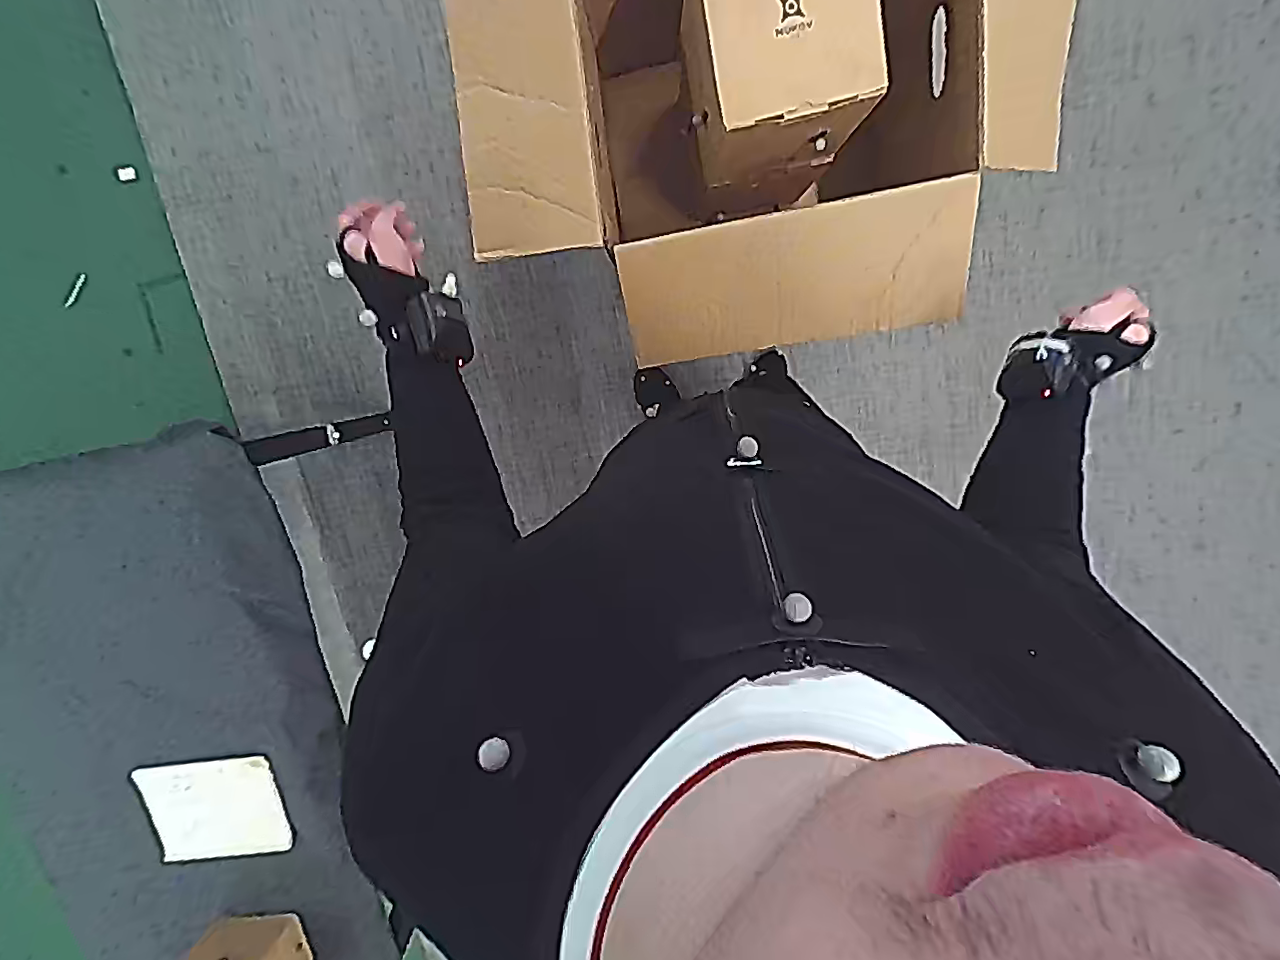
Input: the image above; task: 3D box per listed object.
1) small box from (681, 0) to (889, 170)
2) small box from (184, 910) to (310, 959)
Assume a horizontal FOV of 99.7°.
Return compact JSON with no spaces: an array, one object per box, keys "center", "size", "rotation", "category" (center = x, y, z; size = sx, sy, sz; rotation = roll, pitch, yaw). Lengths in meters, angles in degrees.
[{"center":[0.141,-0.458,0.577],"size":[0.168,0.176,0.179],"rotation":[-12,101,3],"category":"small box"},{"center":[-0.753,0.948,1.009],"size":[0.179,0.176,0.168],"rotation":[-9,102,5],"category":"small box"}]
